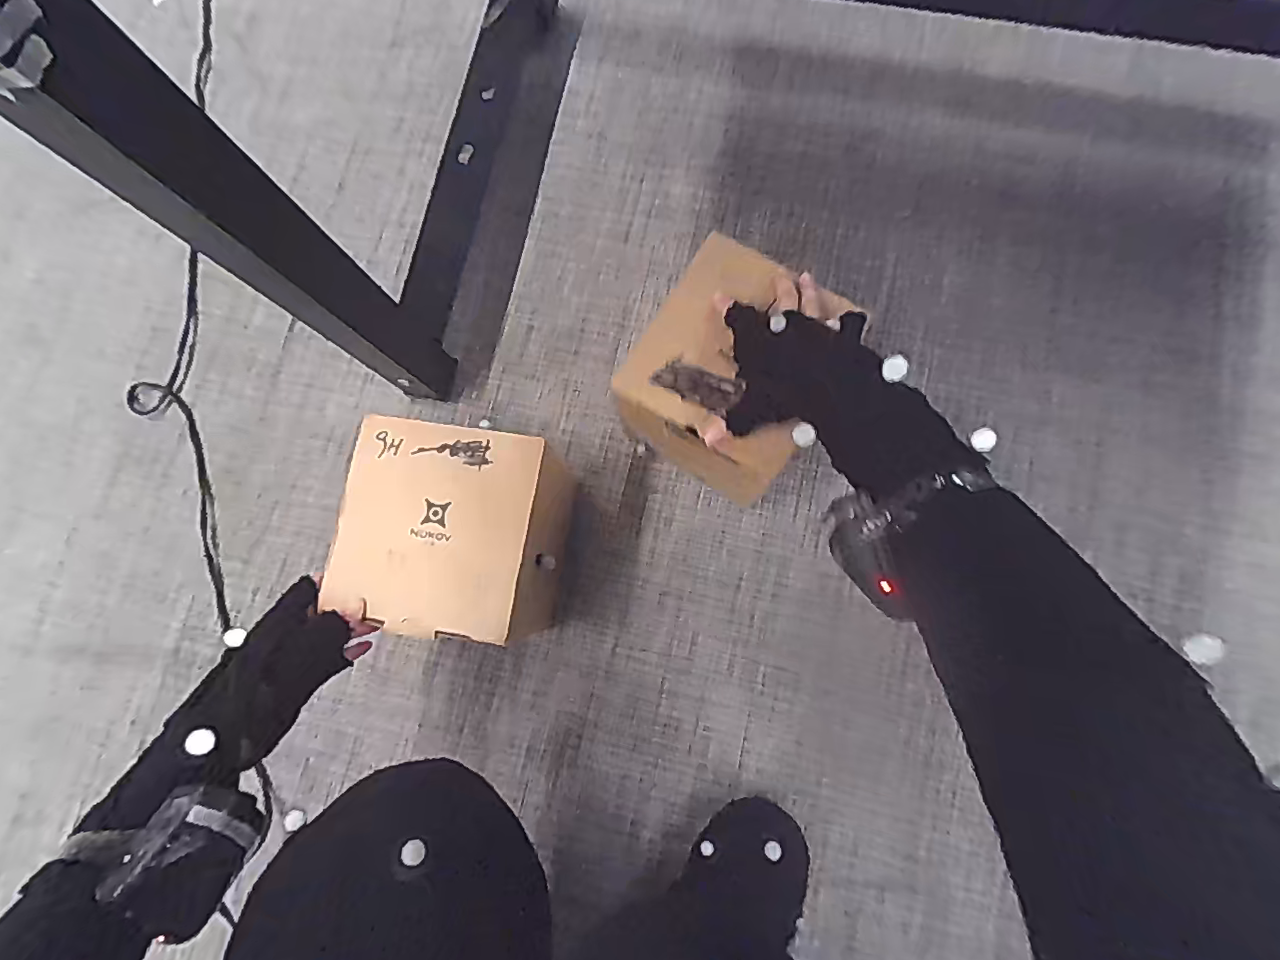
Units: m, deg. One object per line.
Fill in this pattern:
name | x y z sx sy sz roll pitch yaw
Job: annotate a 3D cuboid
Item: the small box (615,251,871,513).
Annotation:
small box | 0.094 -0.082 0.548 0.168 0.176 0.179 30 82 7
